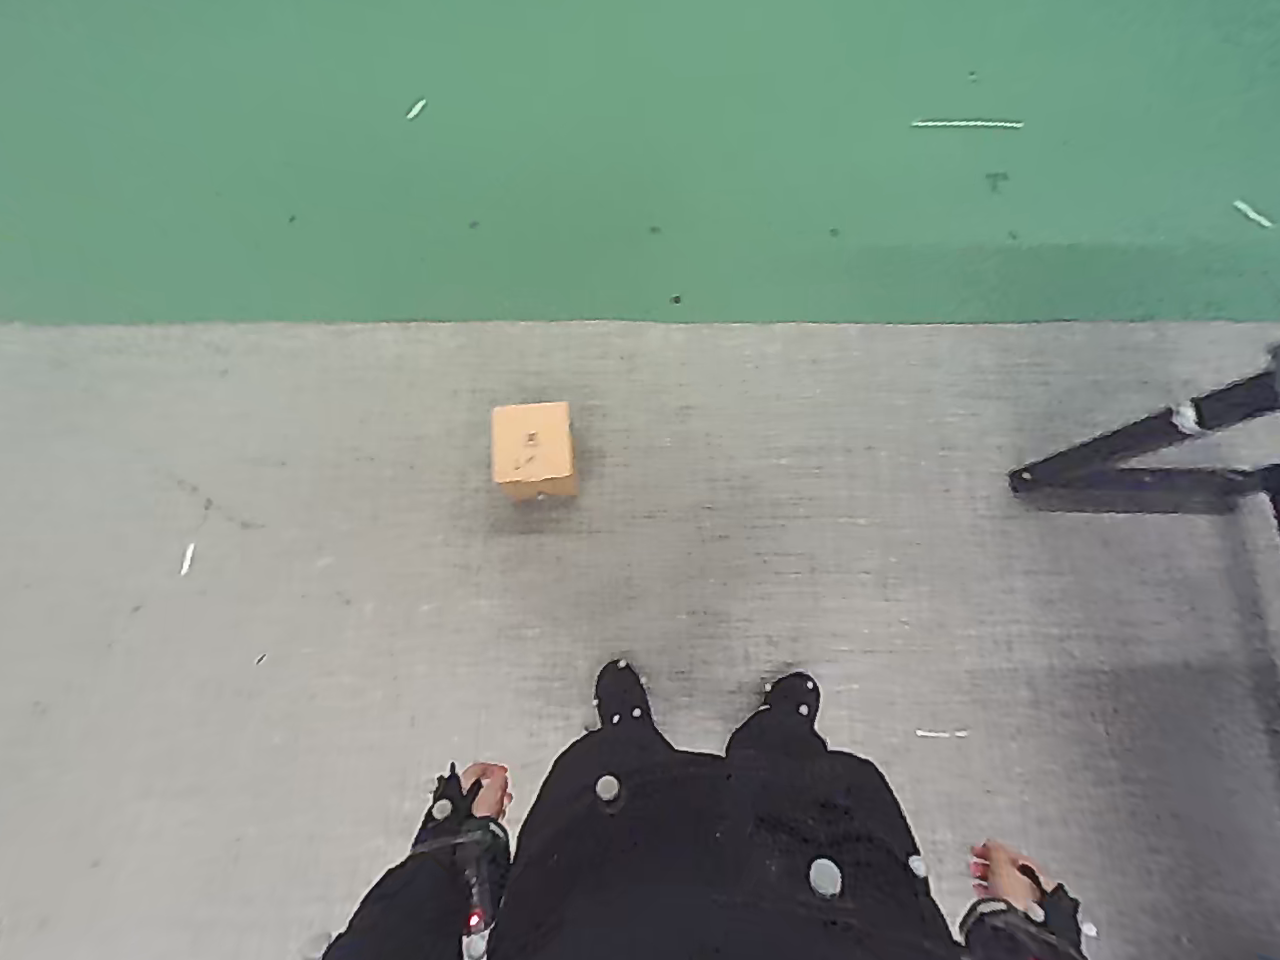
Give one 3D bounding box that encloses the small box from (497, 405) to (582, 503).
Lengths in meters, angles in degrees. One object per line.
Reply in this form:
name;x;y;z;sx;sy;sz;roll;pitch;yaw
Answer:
small box;-0.225;-0.056;1.239;0.168;0.176;0.179;-4;75;-1
